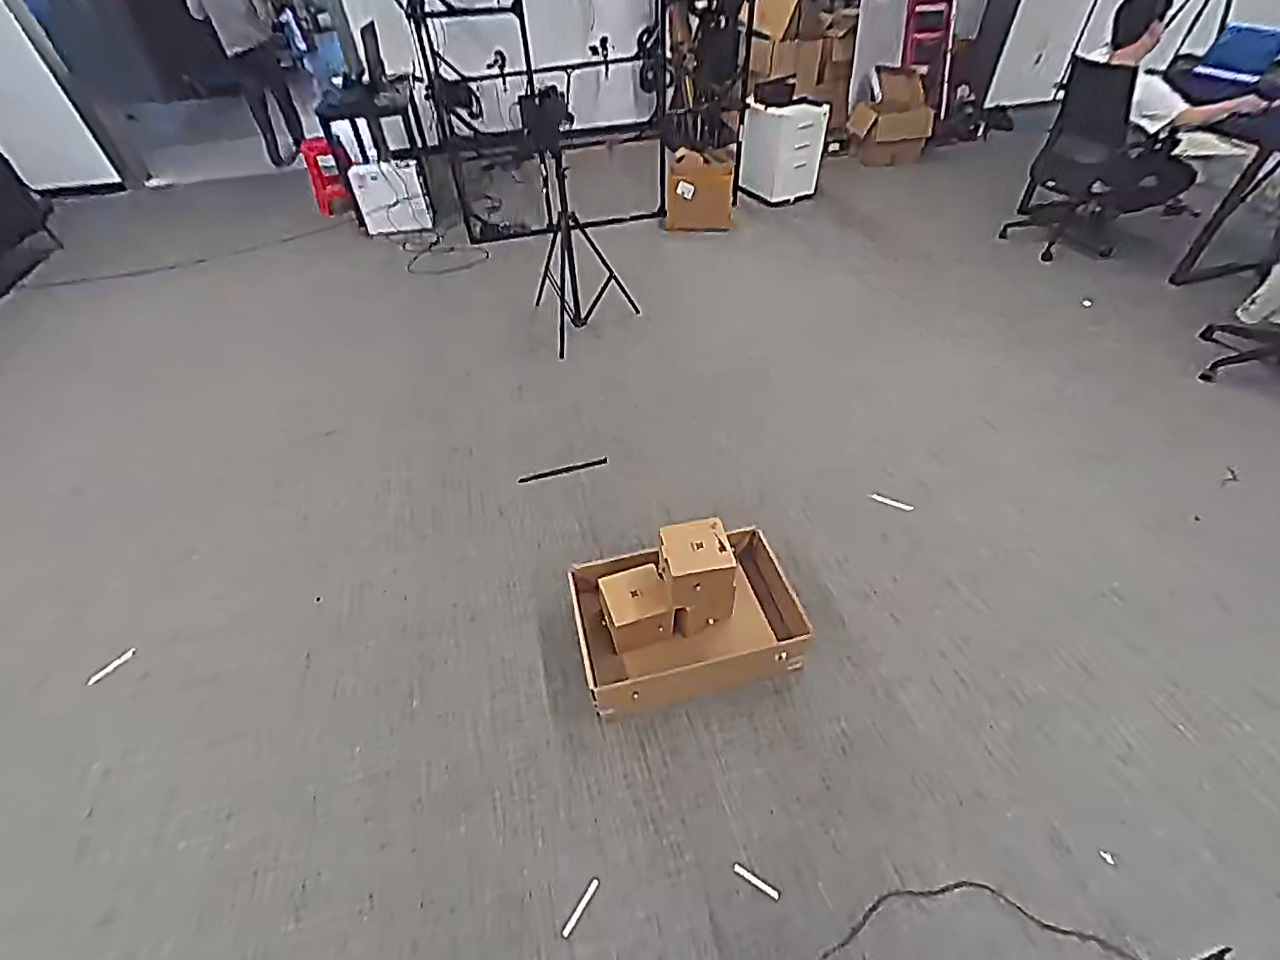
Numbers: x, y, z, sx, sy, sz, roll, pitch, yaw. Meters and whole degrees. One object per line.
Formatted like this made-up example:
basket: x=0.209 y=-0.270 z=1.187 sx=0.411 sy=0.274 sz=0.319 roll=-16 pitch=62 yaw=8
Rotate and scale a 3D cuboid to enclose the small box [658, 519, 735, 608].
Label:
small box: x=0.154 y=0.234 z=1.491 sx=0.179 sy=0.176 sz=0.168 roll=-10 pitch=48 yaw=-5
